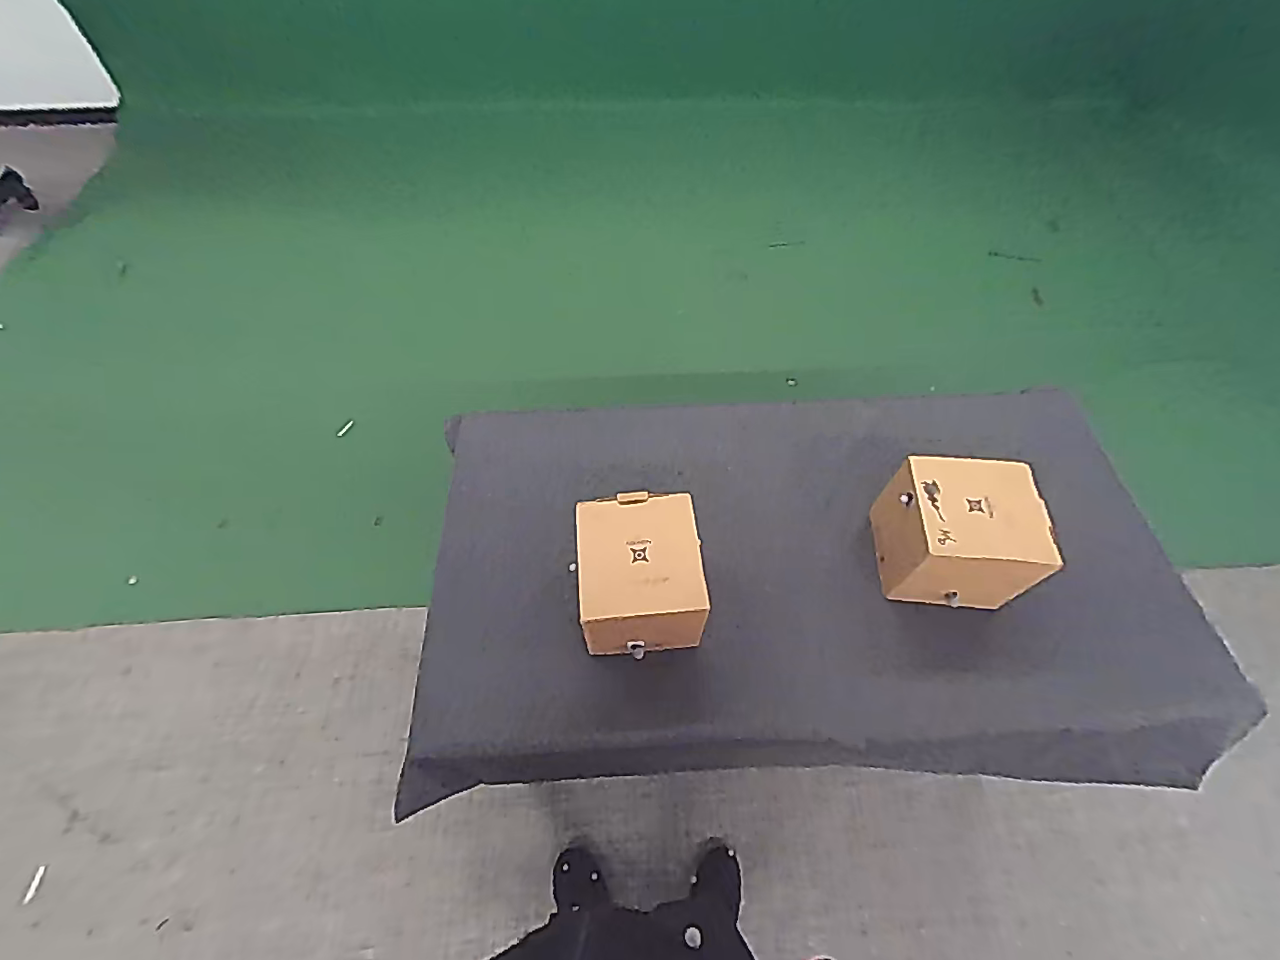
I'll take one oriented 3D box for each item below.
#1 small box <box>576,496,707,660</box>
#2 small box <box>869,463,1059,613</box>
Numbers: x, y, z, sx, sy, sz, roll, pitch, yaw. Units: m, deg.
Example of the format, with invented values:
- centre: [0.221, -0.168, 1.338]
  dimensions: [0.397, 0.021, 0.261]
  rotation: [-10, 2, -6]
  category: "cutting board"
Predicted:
- centre: [-0.001, 0.143, 0.774]
  dimensions: [0.168, 0.176, 0.179]
  rotation: [-4, 57, -1]
  category: "small box"
- centre: [0.477, 0.095, 0.827]
  dimensions: [0.179, 0.176, 0.168]
  rotation: [5, 57, 2]
  category: "small box"
